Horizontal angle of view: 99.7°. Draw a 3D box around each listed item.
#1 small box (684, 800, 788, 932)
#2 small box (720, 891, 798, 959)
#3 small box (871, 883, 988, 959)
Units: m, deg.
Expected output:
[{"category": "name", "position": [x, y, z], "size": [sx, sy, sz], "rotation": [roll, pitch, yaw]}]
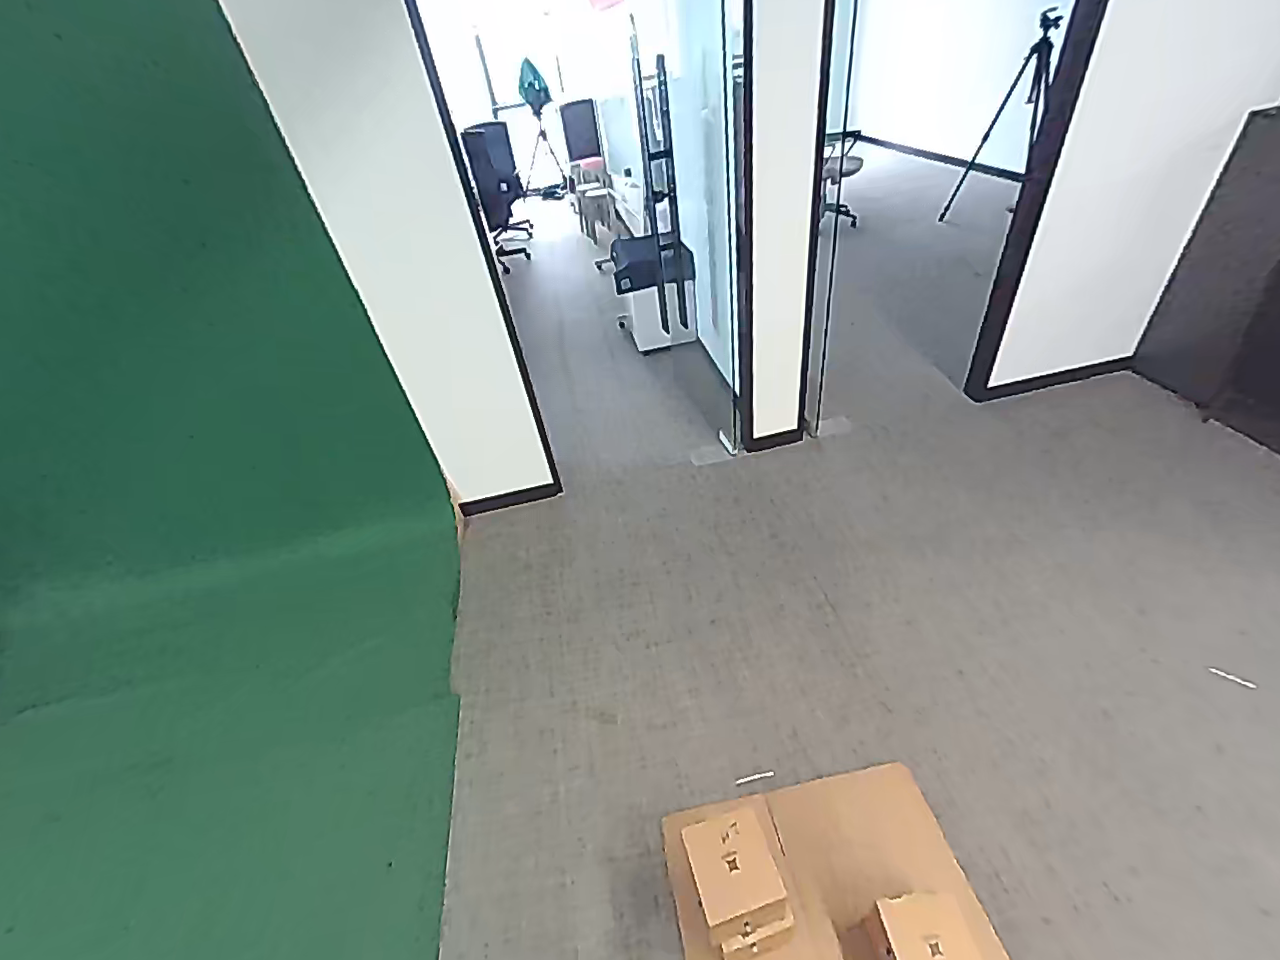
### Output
[{"category": "small box", "position": [0.202, 0.826, 1.150], "size": [0.168, 0.176, 0.179], "rotation": [-14, 39, -7]}, {"category": "small box", "position": [0.246, 0.956, 1.245], "size": [0.168, 0.176, 0.179], "rotation": [-16, 40, -7]}, {"category": "small box", "position": [0.606, 0.984, 1.132], "size": [0.168, 0.176, 0.179], "rotation": [-10, 38, 0]}]
